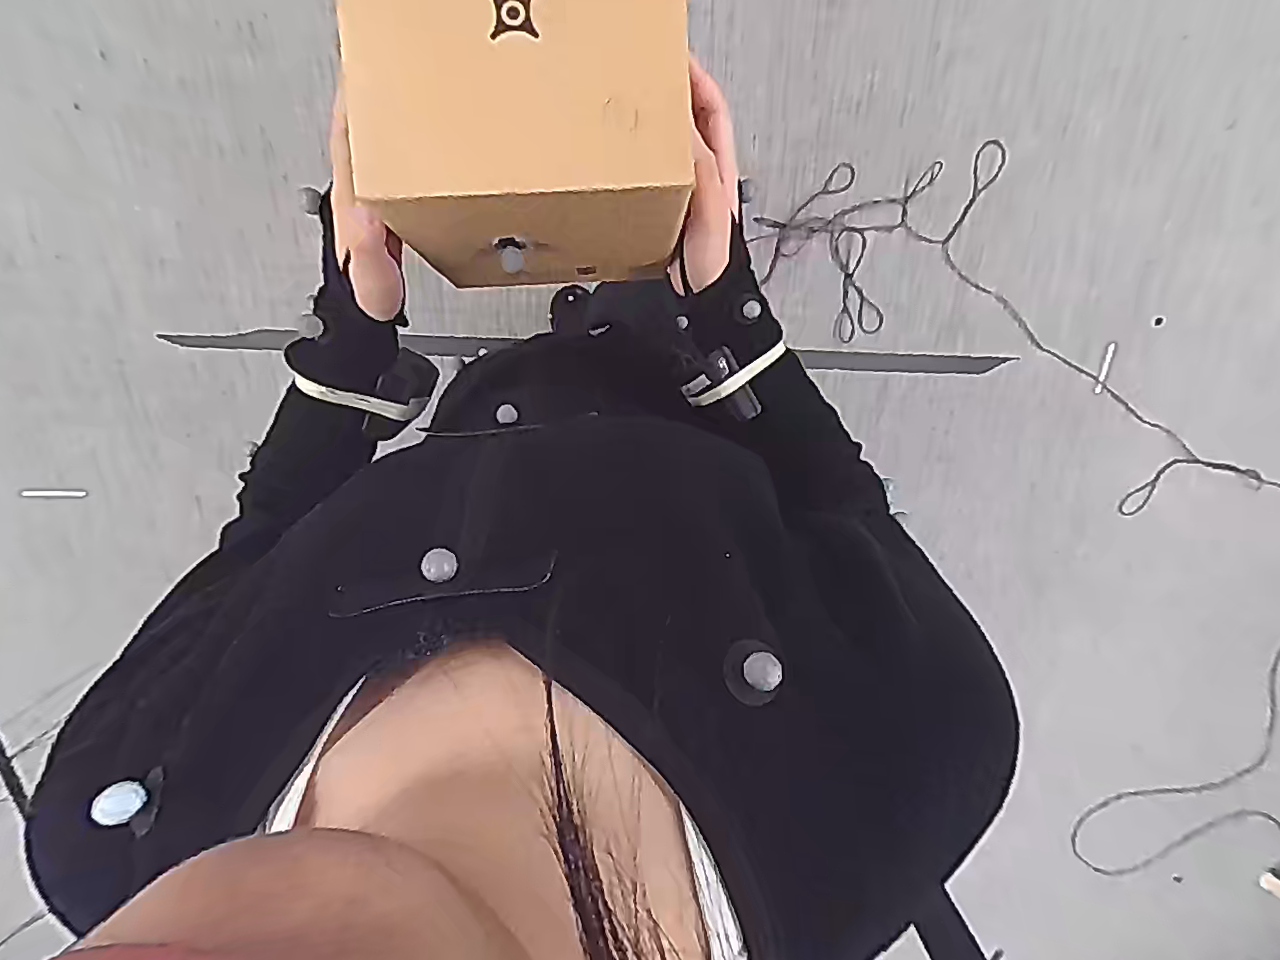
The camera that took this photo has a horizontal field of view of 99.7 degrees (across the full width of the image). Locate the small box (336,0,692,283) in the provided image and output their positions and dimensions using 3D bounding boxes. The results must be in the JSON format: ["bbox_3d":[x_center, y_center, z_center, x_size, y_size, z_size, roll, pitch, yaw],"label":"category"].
[{"bbox_3d":[-0.062,-0.230,0.334,0.168,0.176,0.179,-4,95,-2],"label":"small box"}]
